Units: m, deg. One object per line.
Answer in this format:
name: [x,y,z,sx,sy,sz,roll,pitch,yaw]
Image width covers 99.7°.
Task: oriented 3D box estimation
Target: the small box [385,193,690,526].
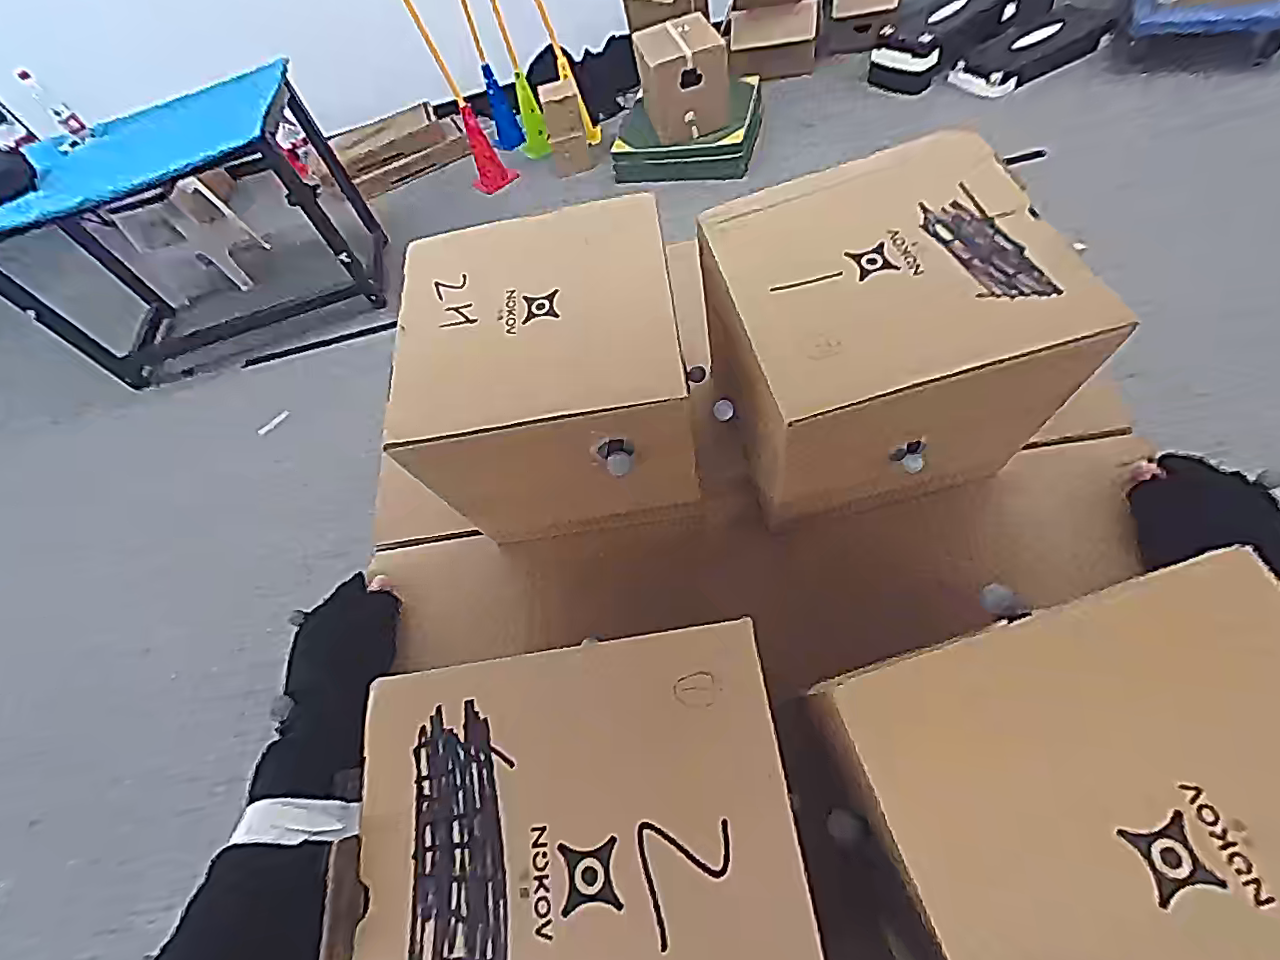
small box: [-0.057,-0.076,0.412,0.179,0.176,0.168,-8,63,7]
